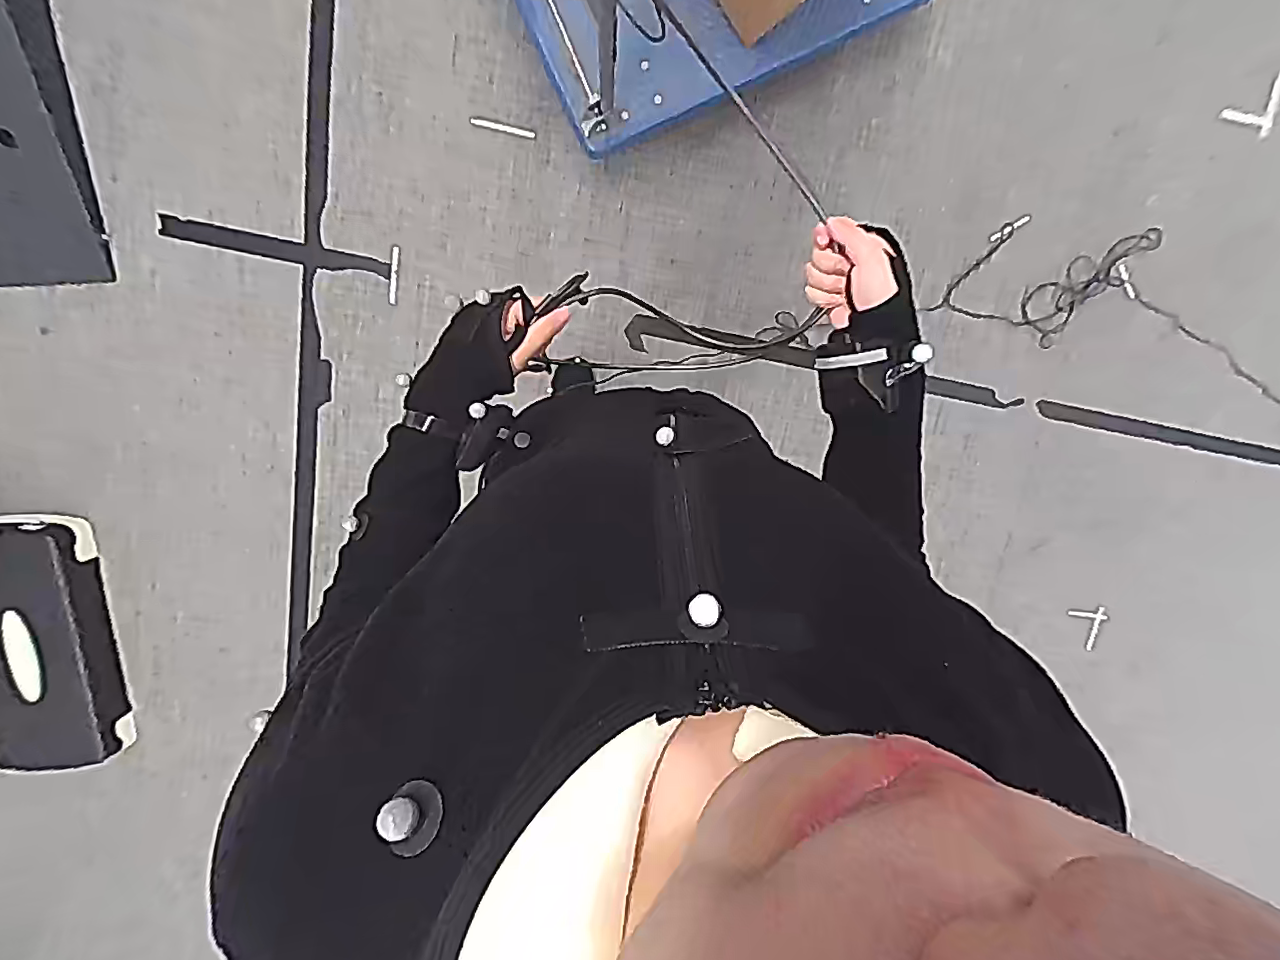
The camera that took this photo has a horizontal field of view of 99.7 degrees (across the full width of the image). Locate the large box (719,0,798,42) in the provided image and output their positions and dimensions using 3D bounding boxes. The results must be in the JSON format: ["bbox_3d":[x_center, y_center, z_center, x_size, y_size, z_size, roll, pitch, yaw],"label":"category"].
[{"bbox_3d":[0.234,-1.138,0.955,0.320,0.320,0.408,-40,103,4],"label":"large box"}]
